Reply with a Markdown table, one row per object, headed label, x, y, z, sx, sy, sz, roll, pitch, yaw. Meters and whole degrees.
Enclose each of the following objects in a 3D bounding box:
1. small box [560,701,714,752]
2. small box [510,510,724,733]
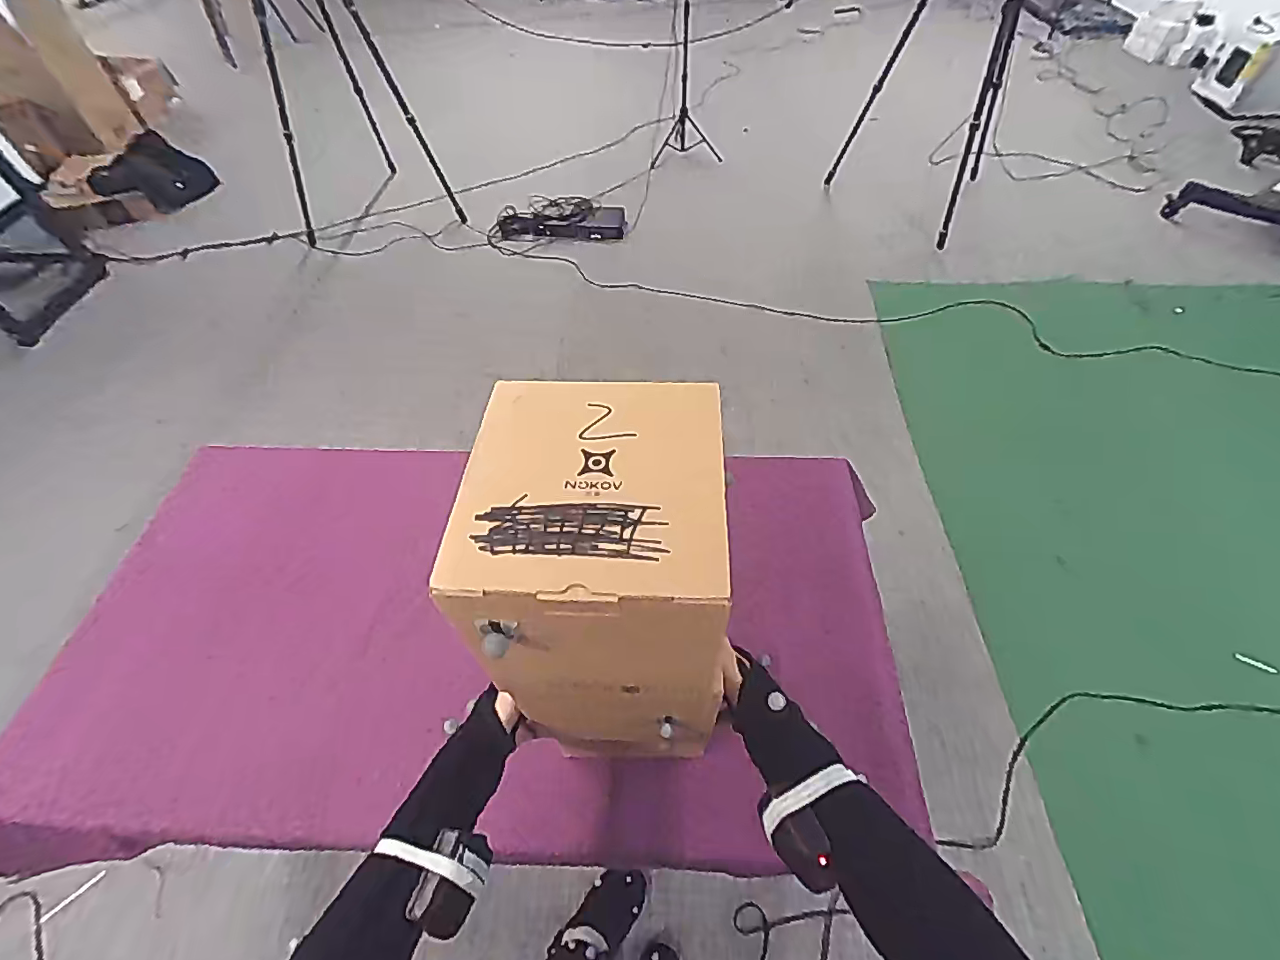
| label | x | y | z | sx | sy | sz | roll | pitch | yaw |
| --- | --- | --- | --- | --- | --- | --- | --- | --- | --- |
| small box | -0.006 | 0.235 | 0.684 | 0.179 | 0.176 | 0.168 | -1 | 50 | 2 |
| small box | -0.013 | 0.147 | 0.546 | 0.179 | 0.176 | 0.168 | 0 | 51 | 3 |
